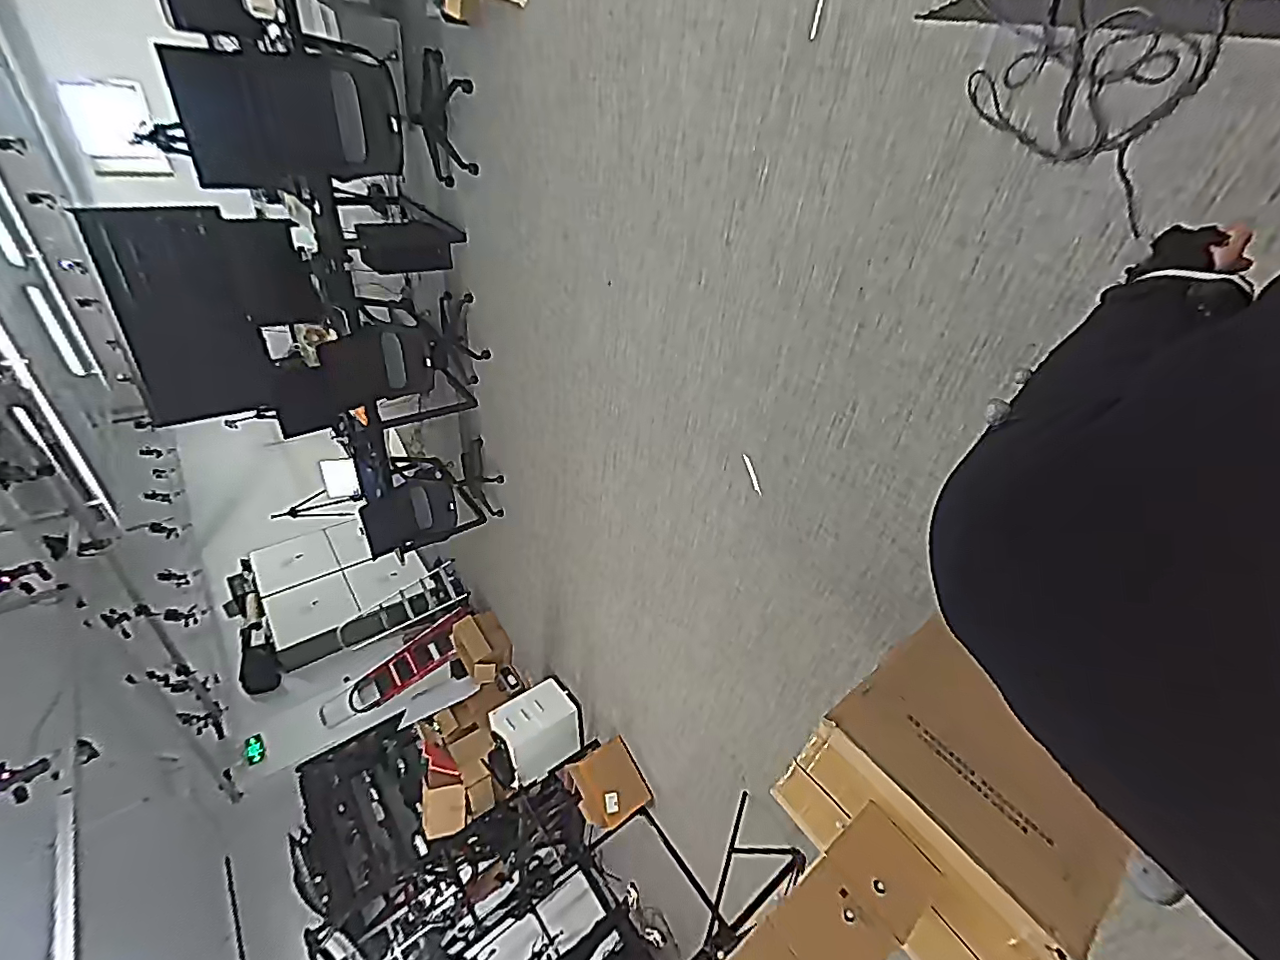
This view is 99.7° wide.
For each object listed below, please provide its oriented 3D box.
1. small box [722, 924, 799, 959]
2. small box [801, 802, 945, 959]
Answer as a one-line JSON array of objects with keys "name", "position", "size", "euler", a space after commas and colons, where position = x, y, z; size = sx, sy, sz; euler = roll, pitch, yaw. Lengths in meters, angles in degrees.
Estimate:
[{"name": "small box", "position": [0.200, 0.895, 0.905], "size": [0.179, 0.176, 0.168], "euler": [43, 138, 35]}, {"name": "small box", "position": [0.463, 0.793, 1.077], "size": [0.179, 0.176, 0.168], "euler": [43, 139, 36]}]
